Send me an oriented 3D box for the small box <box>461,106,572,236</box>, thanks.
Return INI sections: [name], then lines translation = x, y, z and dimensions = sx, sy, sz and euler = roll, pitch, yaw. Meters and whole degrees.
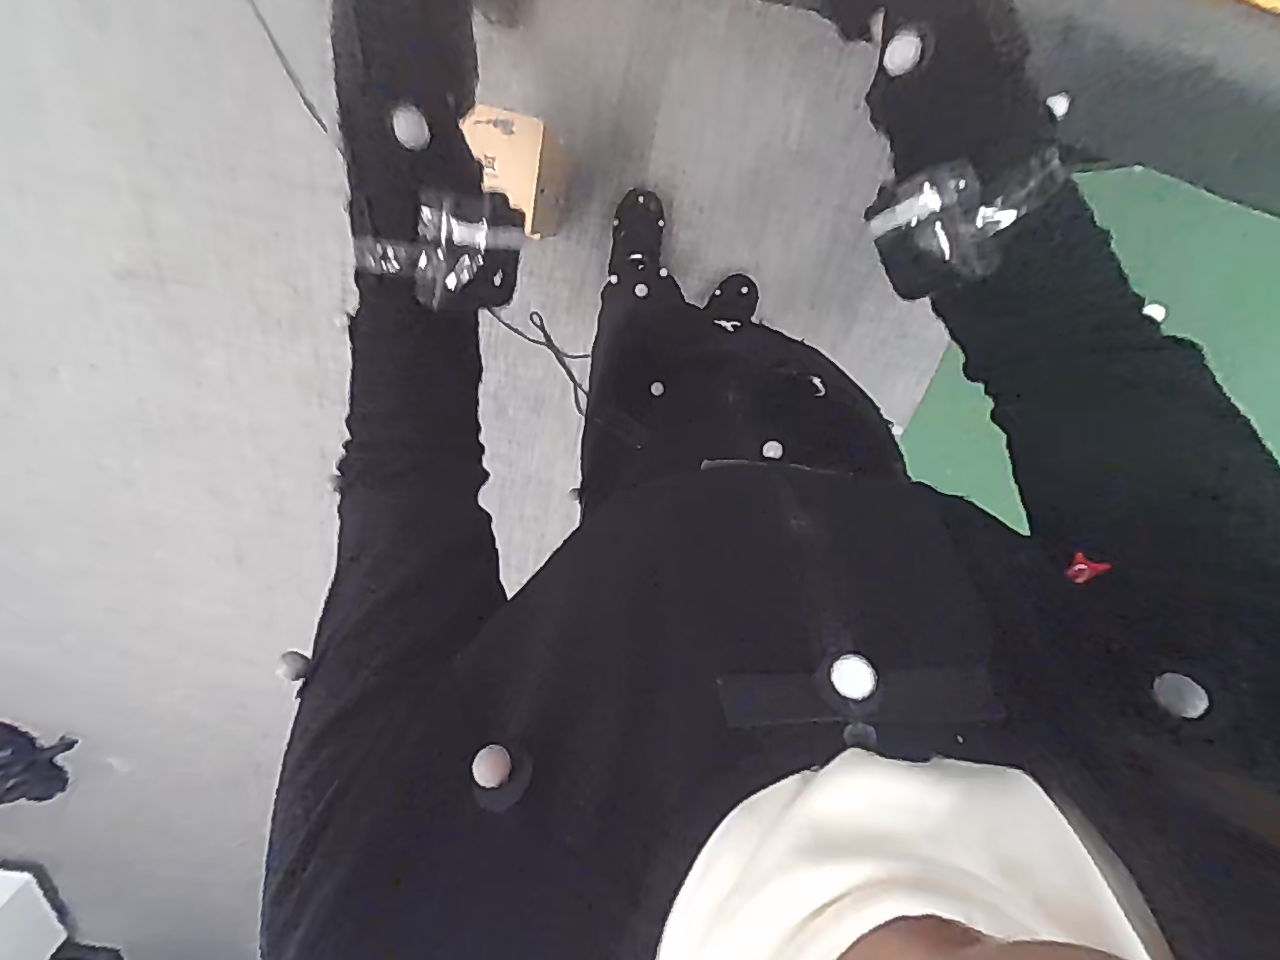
[small box]
translation = -0.245, -0.627, 1.112
dimensions = 0.168, 0.176, 0.179
euler = 21, 116, -8
